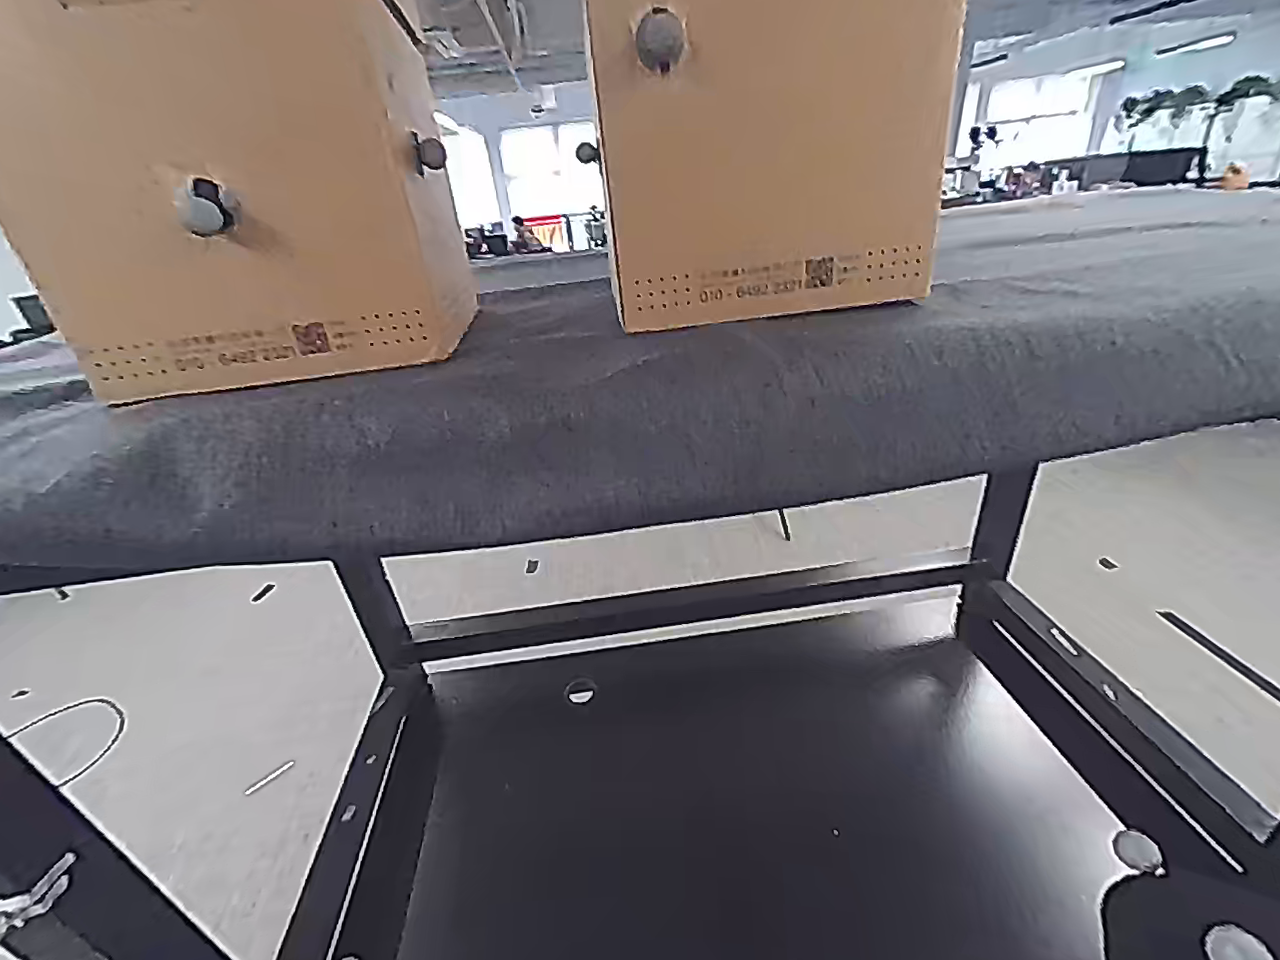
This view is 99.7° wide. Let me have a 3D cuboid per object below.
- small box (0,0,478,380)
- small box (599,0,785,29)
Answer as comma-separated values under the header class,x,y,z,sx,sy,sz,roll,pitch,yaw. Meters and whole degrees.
class,x,y,z,sx,sy,sz,roll,pitch,yaw
small box,-0.196,-0.160,0.304,0.168,0.176,0.179,-9,27,-7
small box,0.049,-0.346,0.254,0.168,0.176,0.179,-5,26,2
